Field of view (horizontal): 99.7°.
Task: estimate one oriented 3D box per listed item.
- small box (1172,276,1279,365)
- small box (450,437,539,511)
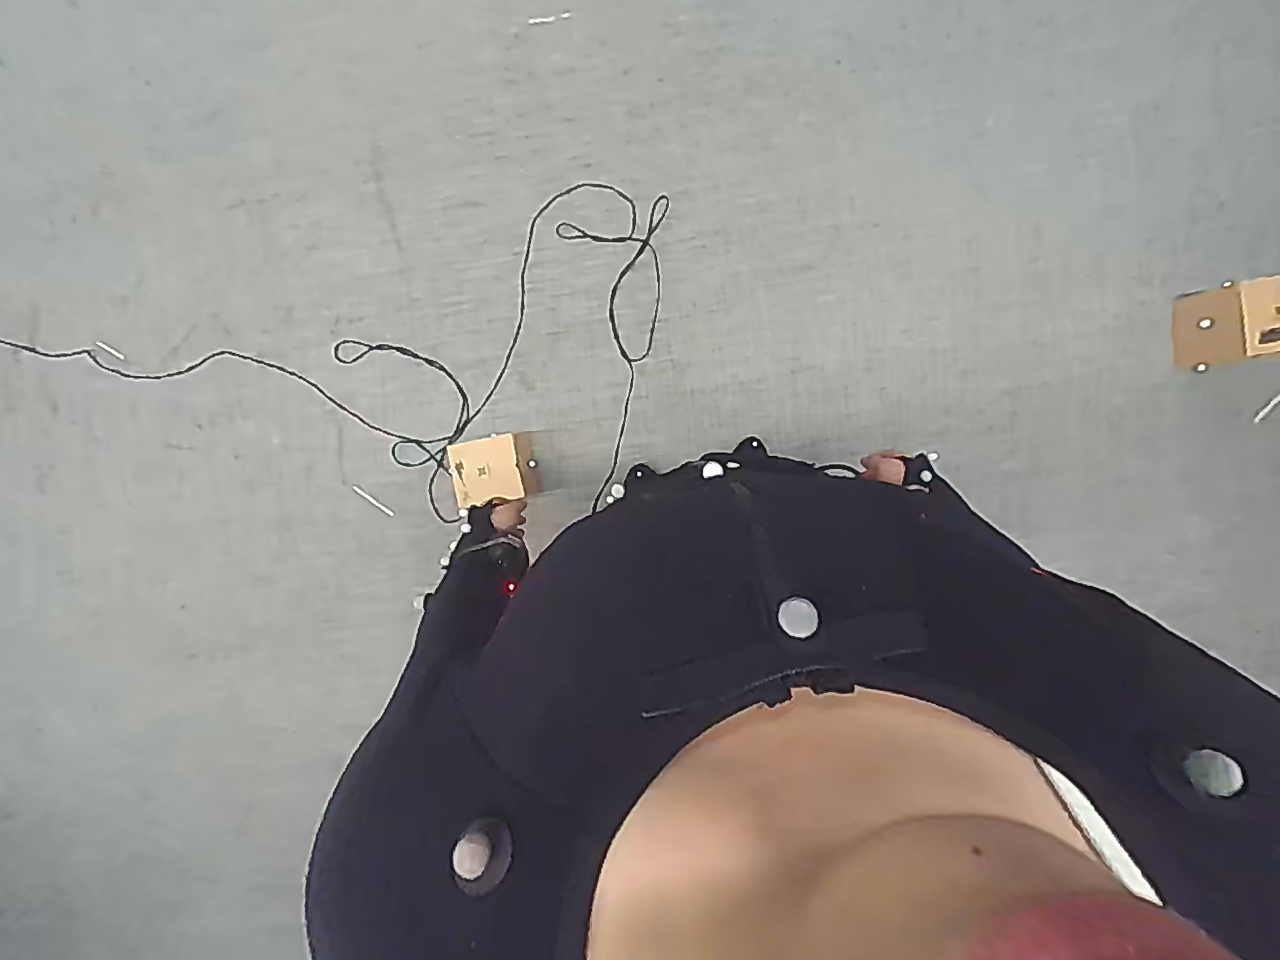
[{"bbox_3d":[1.462,-0.384,1.320,0.168,0.176,0.179,-7,92,4],"label":"small box"},{"bbox_3d":[-0.375,-0.020,1.431,0.179,0.176,0.168,-11,92,3],"label":"small box"}]
